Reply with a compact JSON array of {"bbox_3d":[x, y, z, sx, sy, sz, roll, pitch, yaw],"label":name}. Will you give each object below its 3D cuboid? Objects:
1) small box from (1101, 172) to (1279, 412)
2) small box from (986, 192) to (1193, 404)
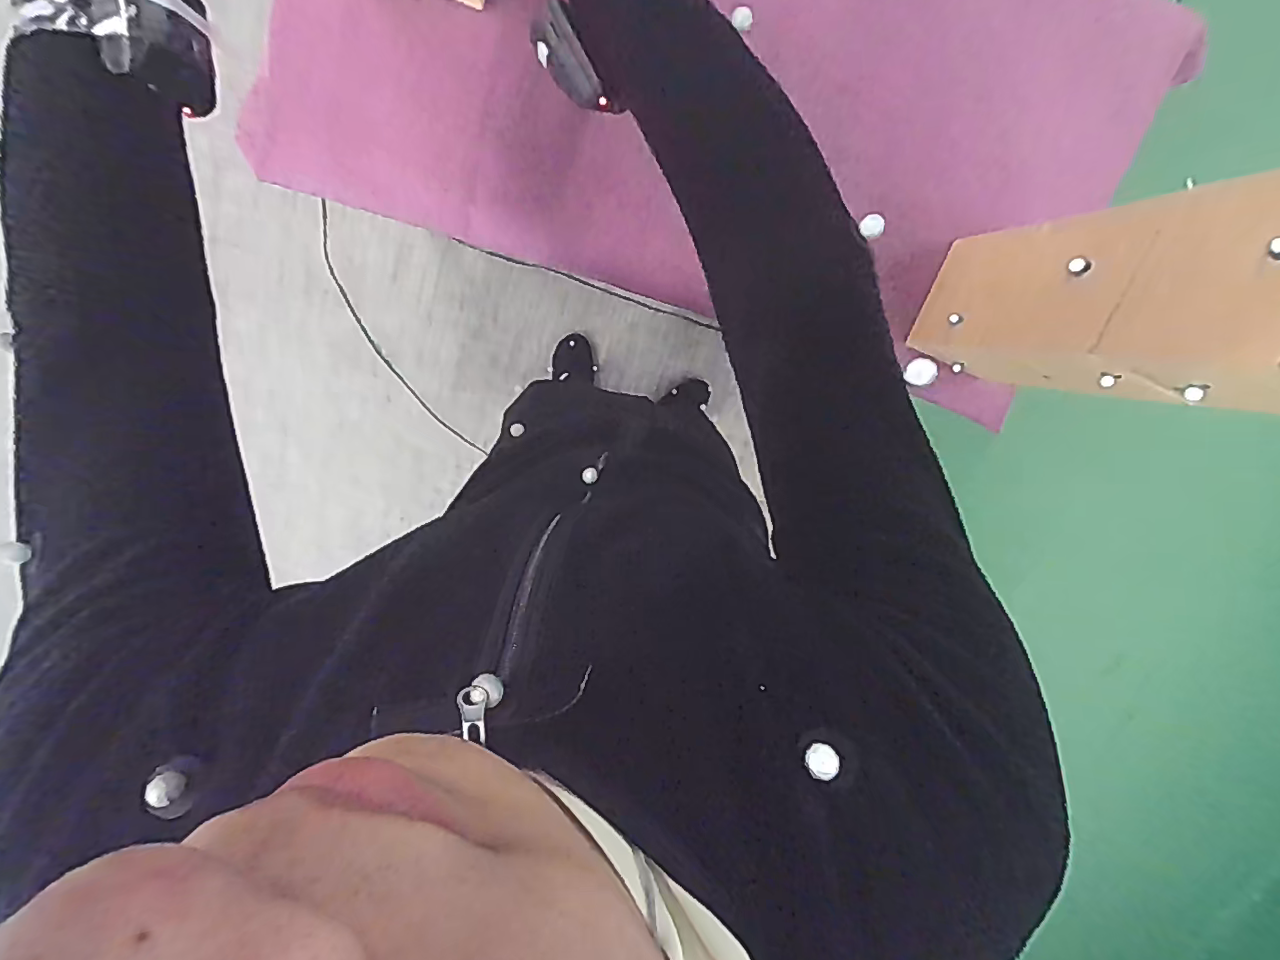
[{"bbox_3d":[0.596,-0.170,0.502,0.168,0.176,0.179,18,103,-12],"label":"small box"},{"bbox_3d":[0.574,-0.211,0.660,0.168,0.176,0.179,19,102,-12],"label":"small box"}]
